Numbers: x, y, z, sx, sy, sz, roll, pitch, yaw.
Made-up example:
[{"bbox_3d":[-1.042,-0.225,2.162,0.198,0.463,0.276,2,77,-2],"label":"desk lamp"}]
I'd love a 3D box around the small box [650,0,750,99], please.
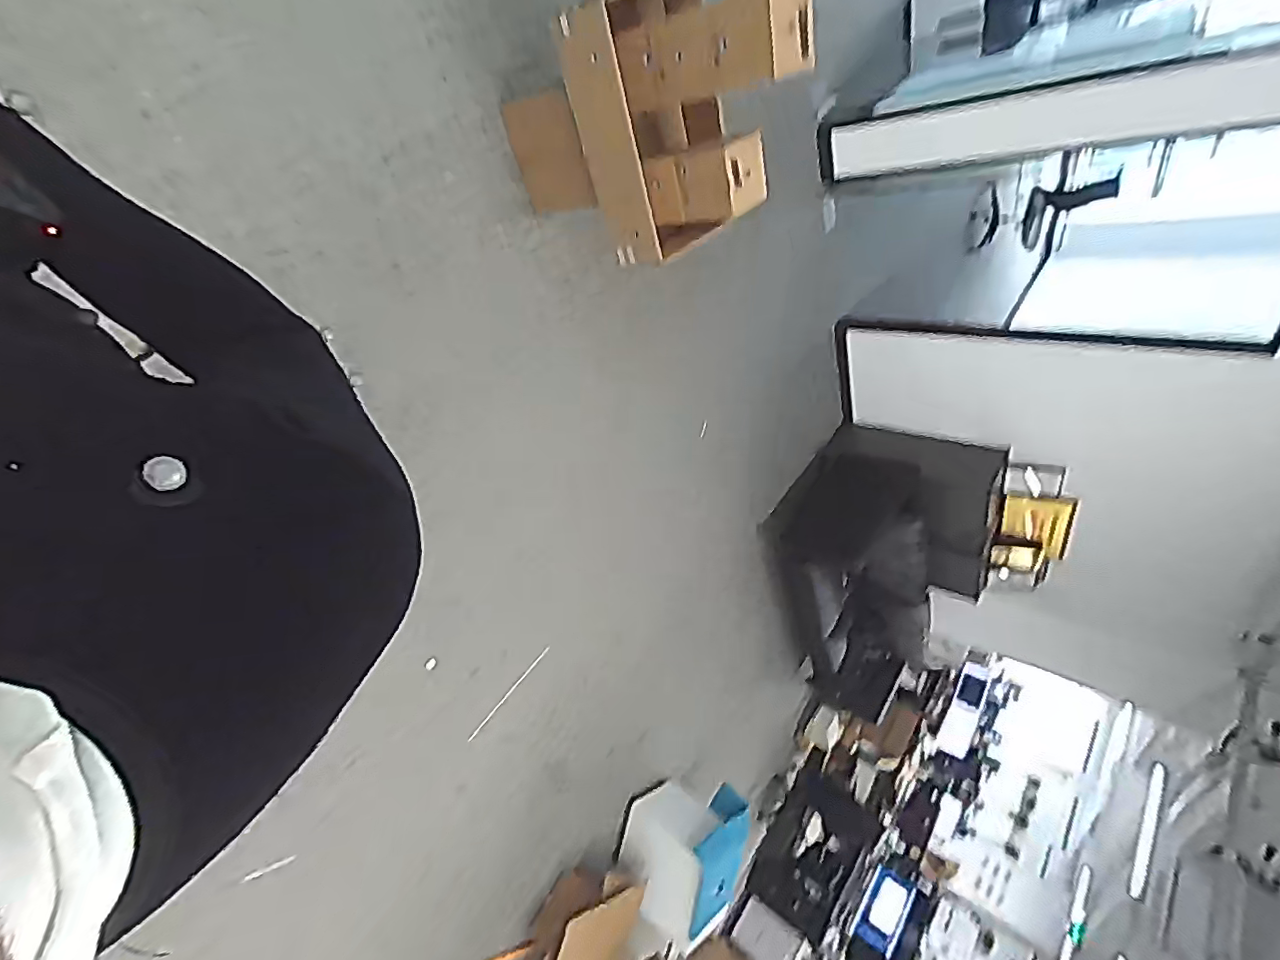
[{"bbox_3d":[0.141,-1.046,1.305,0.179,0.176,0.168,-41,133,-30],"label":"small box"}]

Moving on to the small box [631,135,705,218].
[{"bbox_3d":[0.092,-0.877,1.574,0.179,0.176,0.168,-43,132,-30],"label":"small box"}]

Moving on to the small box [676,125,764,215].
[{"bbox_3d":[0.213,-0.836,1.469,0.179,0.176,0.168,-43,133,-30],"label":"small box"}]
